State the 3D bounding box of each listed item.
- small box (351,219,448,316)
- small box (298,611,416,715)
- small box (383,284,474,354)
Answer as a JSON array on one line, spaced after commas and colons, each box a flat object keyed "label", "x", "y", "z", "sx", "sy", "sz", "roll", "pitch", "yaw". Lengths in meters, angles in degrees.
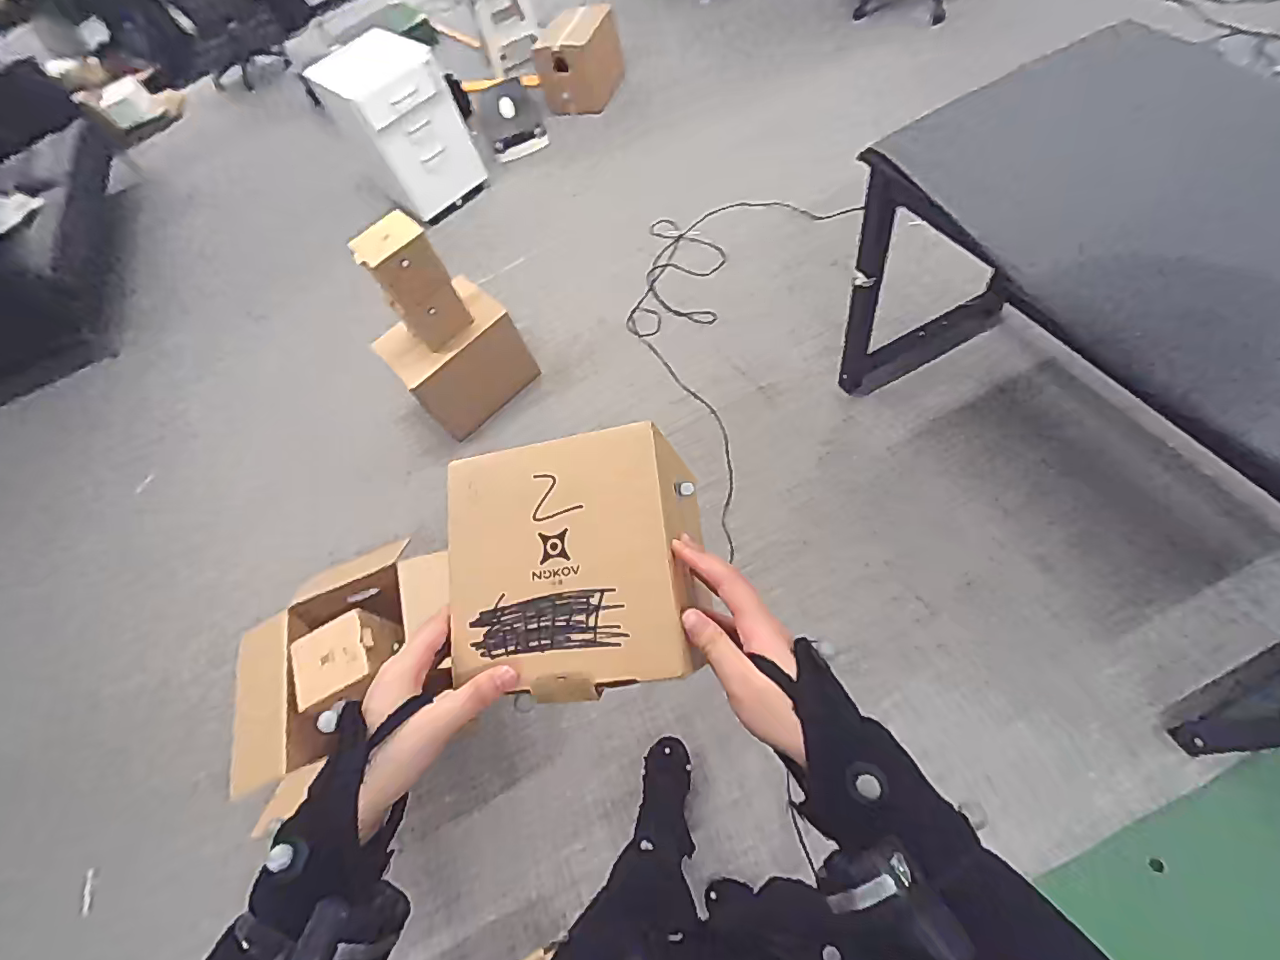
[{"label": "small box", "x": -0.695, "y": -0.621, "z": 1.589, "sx": 0.179, "sy": 0.176, "sz": 0.168, "roll": -43, "pitch": 61, "yaw": -11}, {"label": "small box", "x": -0.675, "y": 0.446, "z": 1.299, "sx": 0.179, "sy": 0.176, "sz": 0.168, "roll": -29, "pitch": 60, "yaw": -3}, {"label": "small box", "x": -0.669, "y": -0.535, "z": 1.725, "sx": 0.179, "sy": 0.176, "sz": 0.168, "roll": -43, "pitch": 61, "yaw": -12}]
